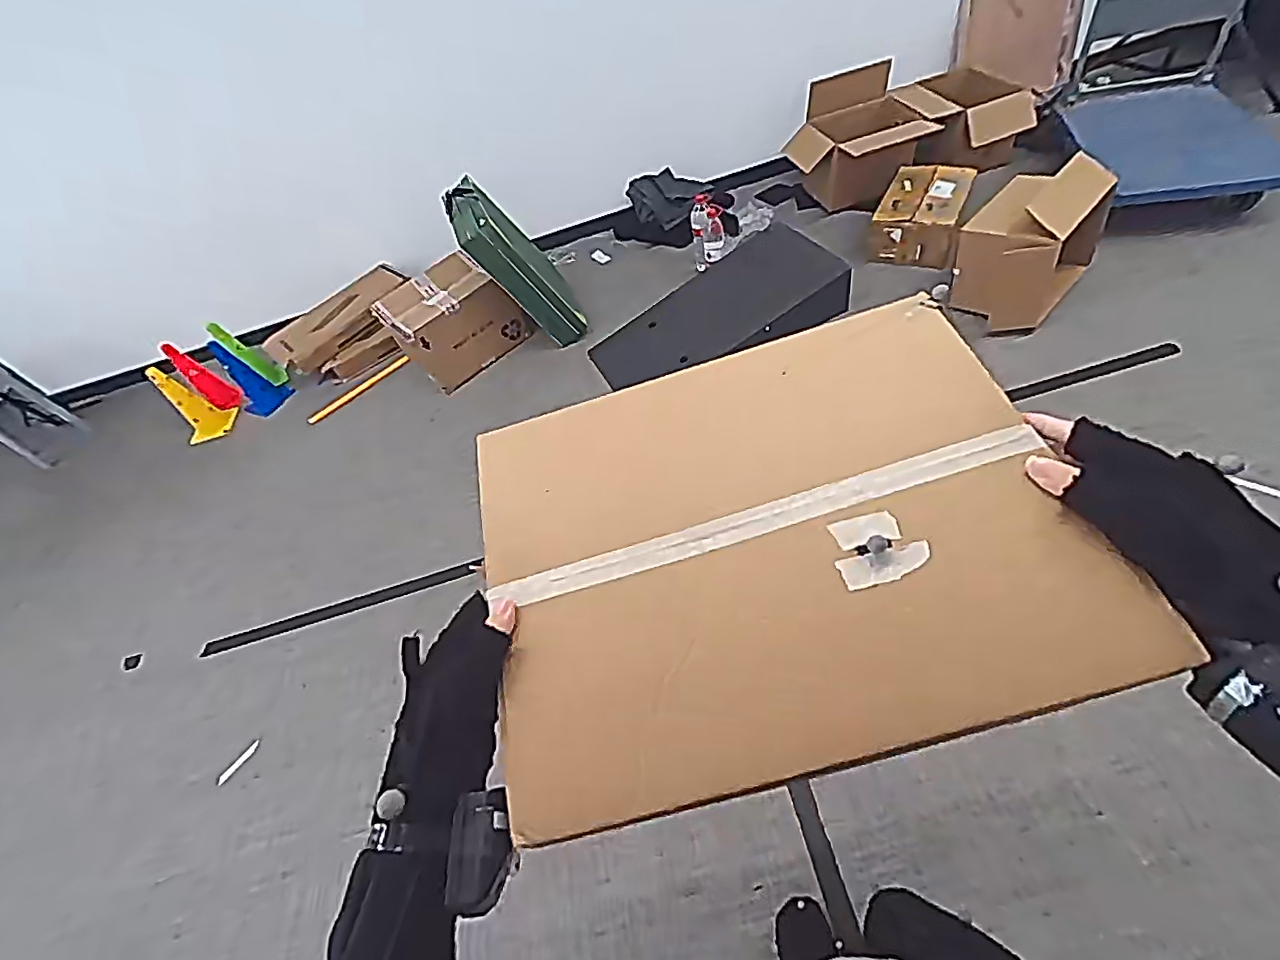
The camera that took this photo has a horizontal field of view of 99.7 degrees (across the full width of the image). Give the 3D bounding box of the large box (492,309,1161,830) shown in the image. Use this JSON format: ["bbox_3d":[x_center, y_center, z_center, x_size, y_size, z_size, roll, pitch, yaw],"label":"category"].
[{"bbox_3d":[0.115,0.106,0.531,0.408,0.320,0.320,-17,59,3],"label":"large box"}]
